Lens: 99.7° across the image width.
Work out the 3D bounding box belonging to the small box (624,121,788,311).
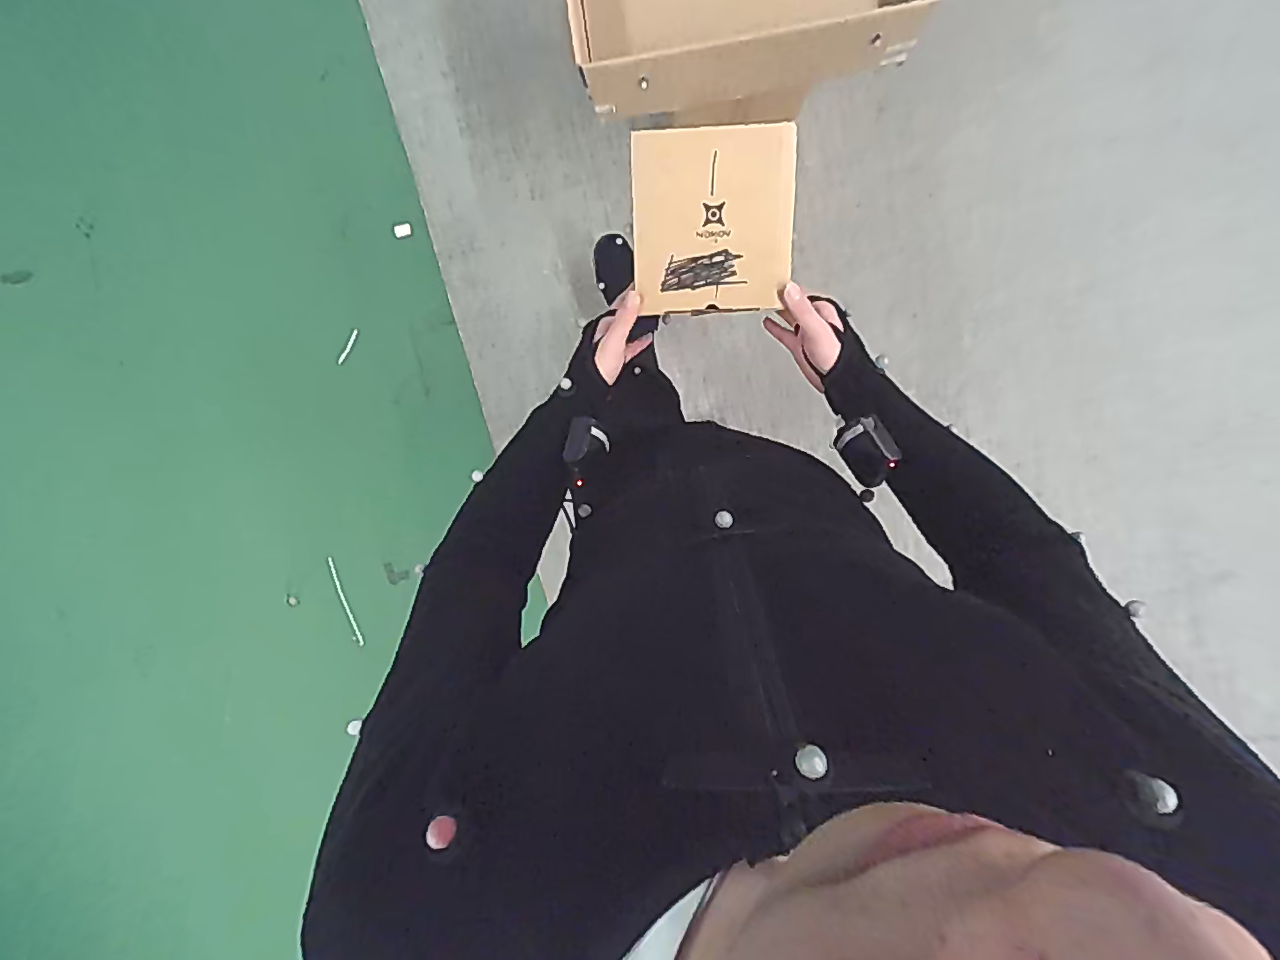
[{"bbox_3d":[0.073,-0.296,0.639,0.168,0.176,0.179,0,107,5],"label":"small box"}]
